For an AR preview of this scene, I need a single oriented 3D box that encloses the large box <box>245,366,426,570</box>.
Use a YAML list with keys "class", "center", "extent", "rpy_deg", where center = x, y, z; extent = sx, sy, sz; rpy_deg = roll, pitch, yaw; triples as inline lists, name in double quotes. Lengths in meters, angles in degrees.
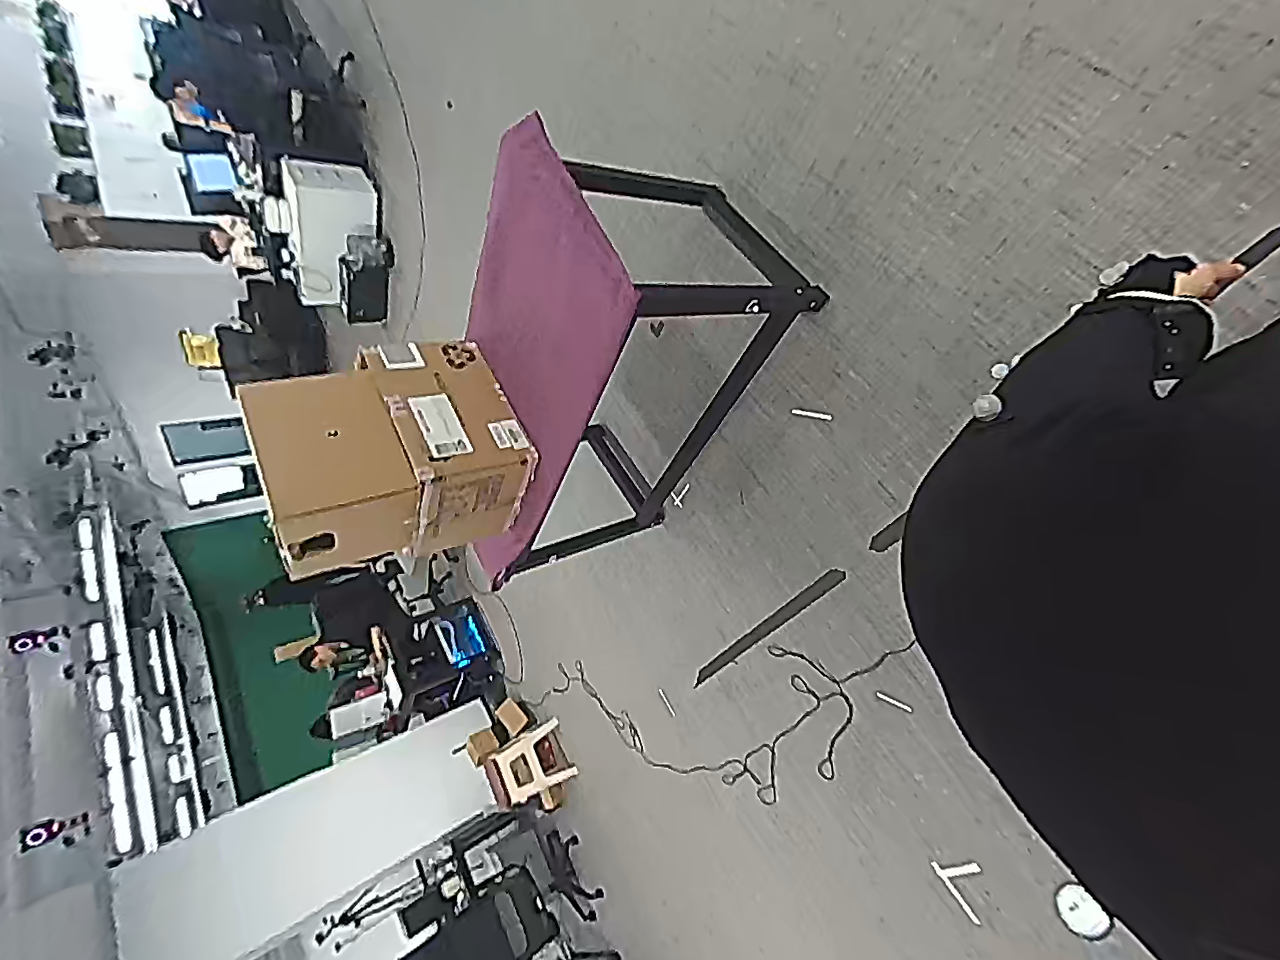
- class: "large box"
  center: [-0.795, -0.042, 1.436]
  extent: [0.408, 0.320, 0.320]
  rpy_deg: [58, 145, 22]
